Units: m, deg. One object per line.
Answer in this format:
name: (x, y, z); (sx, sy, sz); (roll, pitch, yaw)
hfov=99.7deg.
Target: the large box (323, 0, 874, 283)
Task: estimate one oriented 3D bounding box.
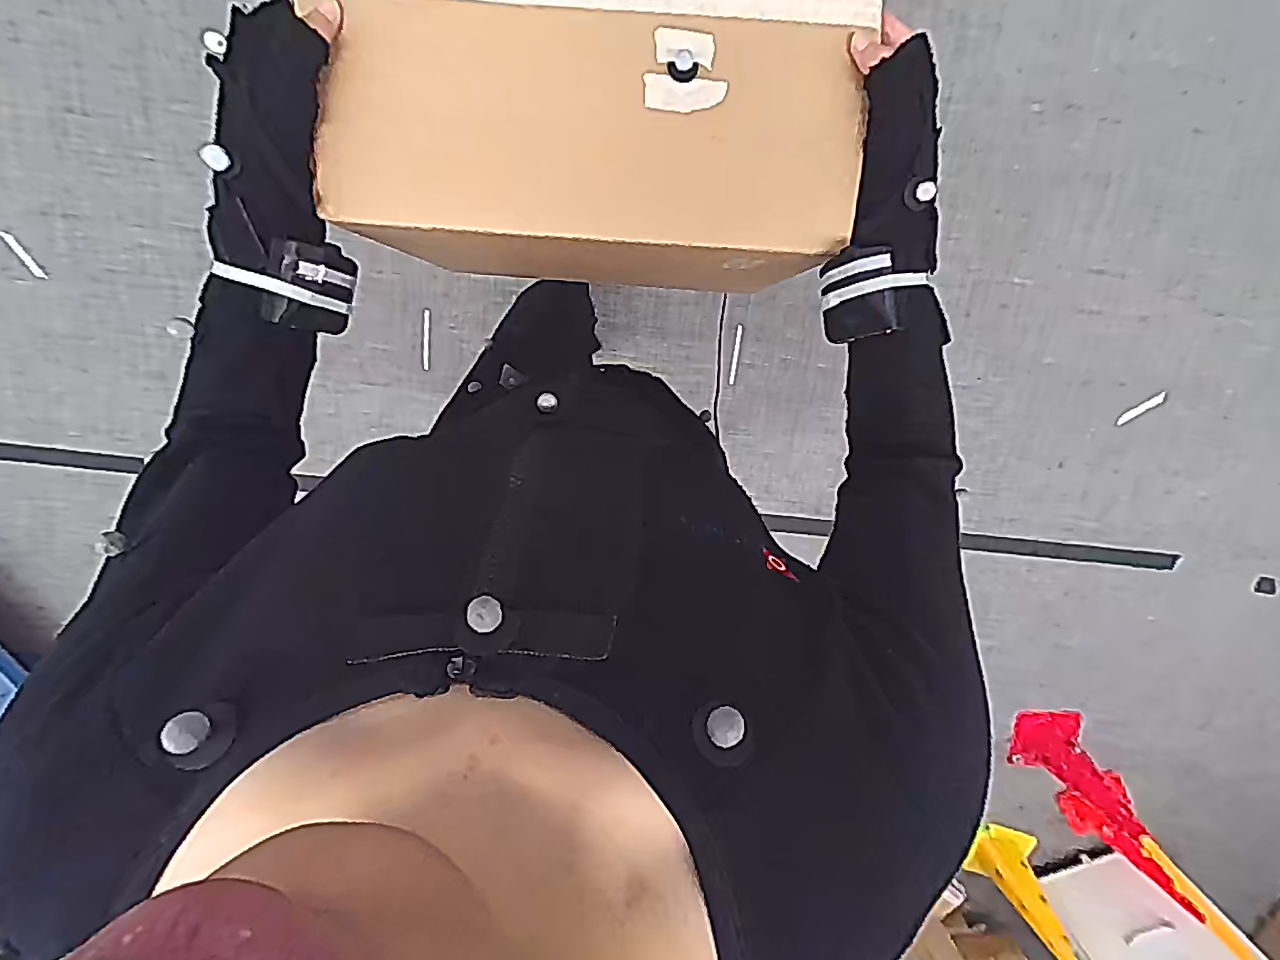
large box: (-0.032, -0.382, 0.533); (0.408, 0.320, 0.320); (3, 104, -2)
